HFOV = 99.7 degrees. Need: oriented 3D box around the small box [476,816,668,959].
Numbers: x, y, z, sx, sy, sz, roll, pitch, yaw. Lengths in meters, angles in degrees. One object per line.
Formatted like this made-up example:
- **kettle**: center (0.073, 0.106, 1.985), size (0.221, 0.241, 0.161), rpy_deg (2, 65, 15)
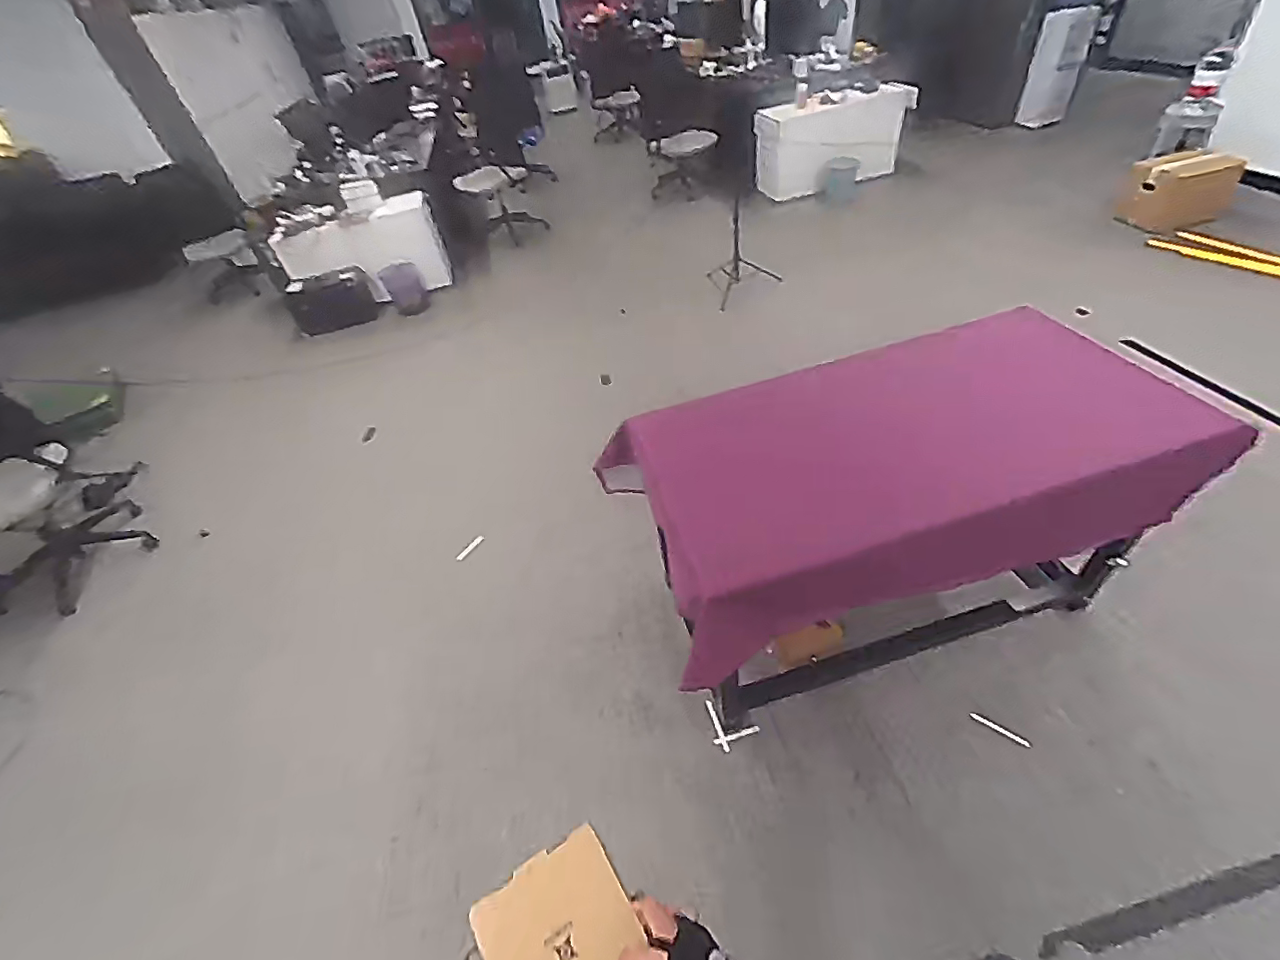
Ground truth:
- **small box**: center (-0.077, 0.563, 0.666), size (0.168, 0.176, 0.179), rpy_deg (-27, 51, -18)
